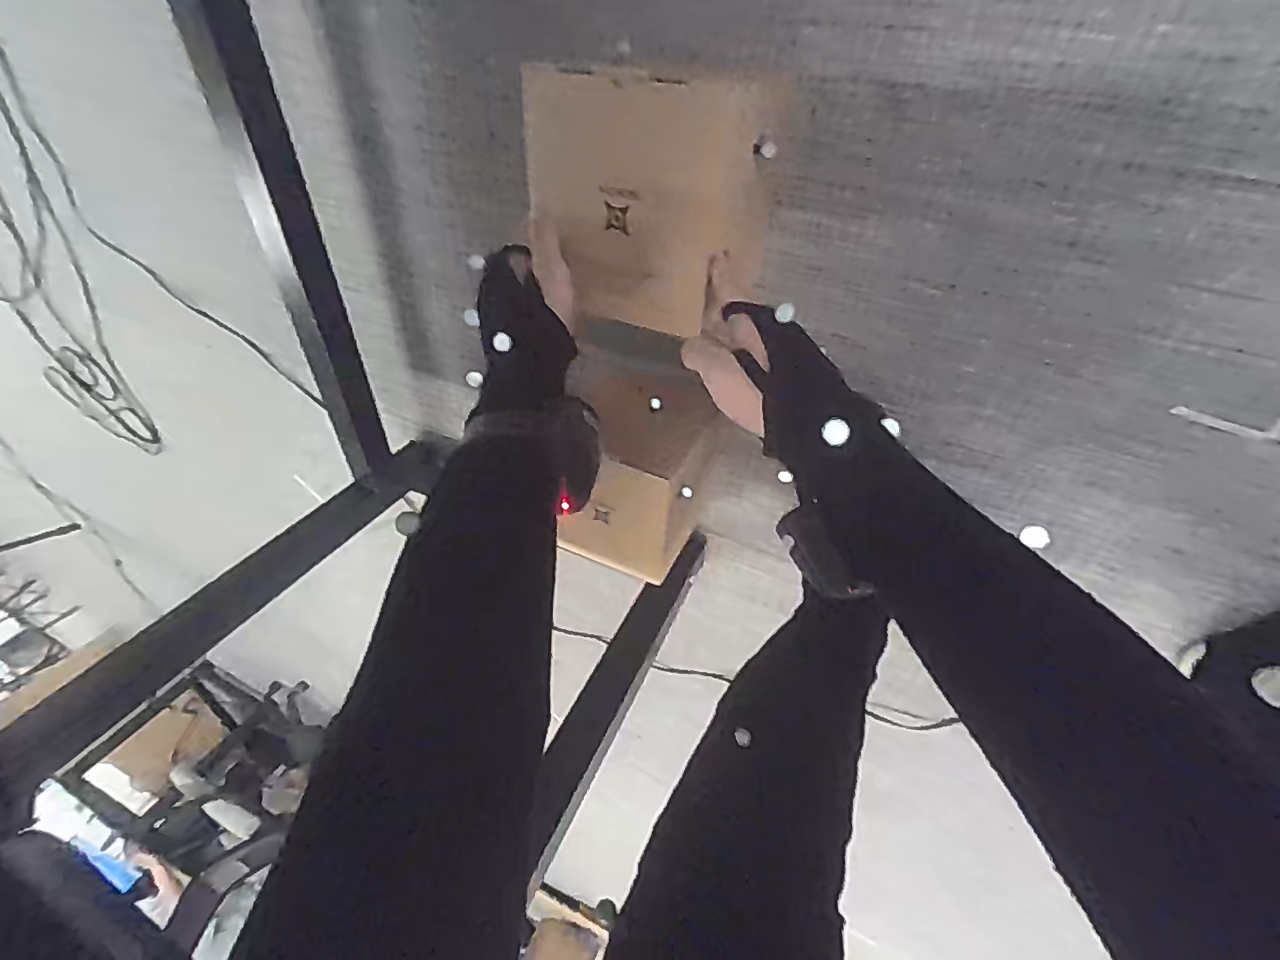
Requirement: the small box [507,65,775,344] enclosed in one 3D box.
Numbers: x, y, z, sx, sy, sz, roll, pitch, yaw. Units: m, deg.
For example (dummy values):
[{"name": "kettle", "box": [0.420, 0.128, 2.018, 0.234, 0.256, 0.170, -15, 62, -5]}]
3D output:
[{"name": "small box", "box": [0.008, -0.249, 0.474, 0.168, 0.176, 0.179, 20, 133, 19]}]
